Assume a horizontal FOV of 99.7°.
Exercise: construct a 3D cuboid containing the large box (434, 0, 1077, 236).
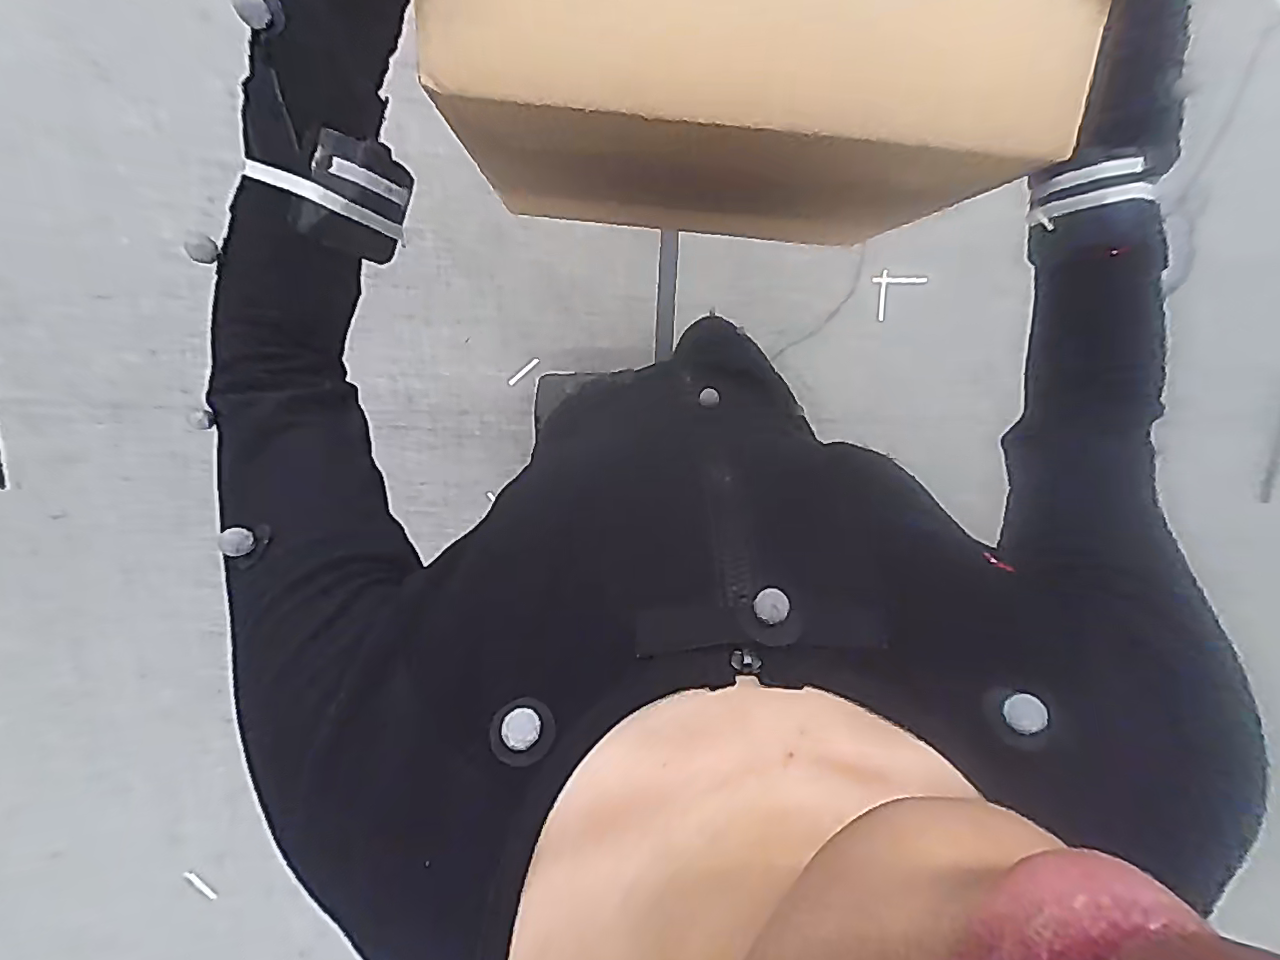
[{"bbox_3d":[0.069,-0.411,0.451,0.408,0.320,0.320,3,104,-6],"label":"large box"}]
